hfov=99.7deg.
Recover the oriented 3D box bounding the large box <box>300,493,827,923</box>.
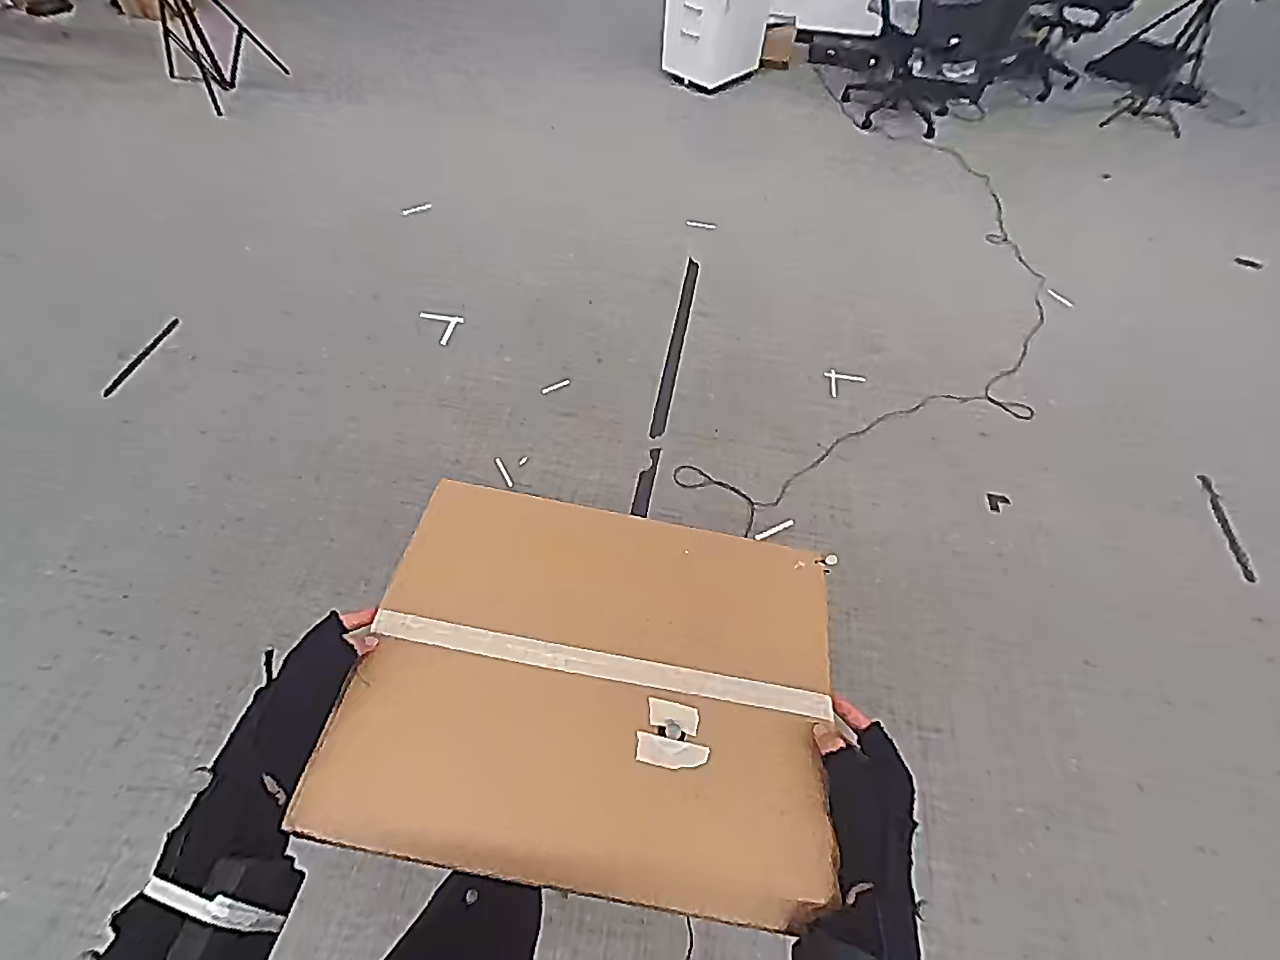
[{"bbox_3d":[-0.054,0.254,0.603,0.408,0.320,0.320,11,55,-1],"label":"large box"}]
